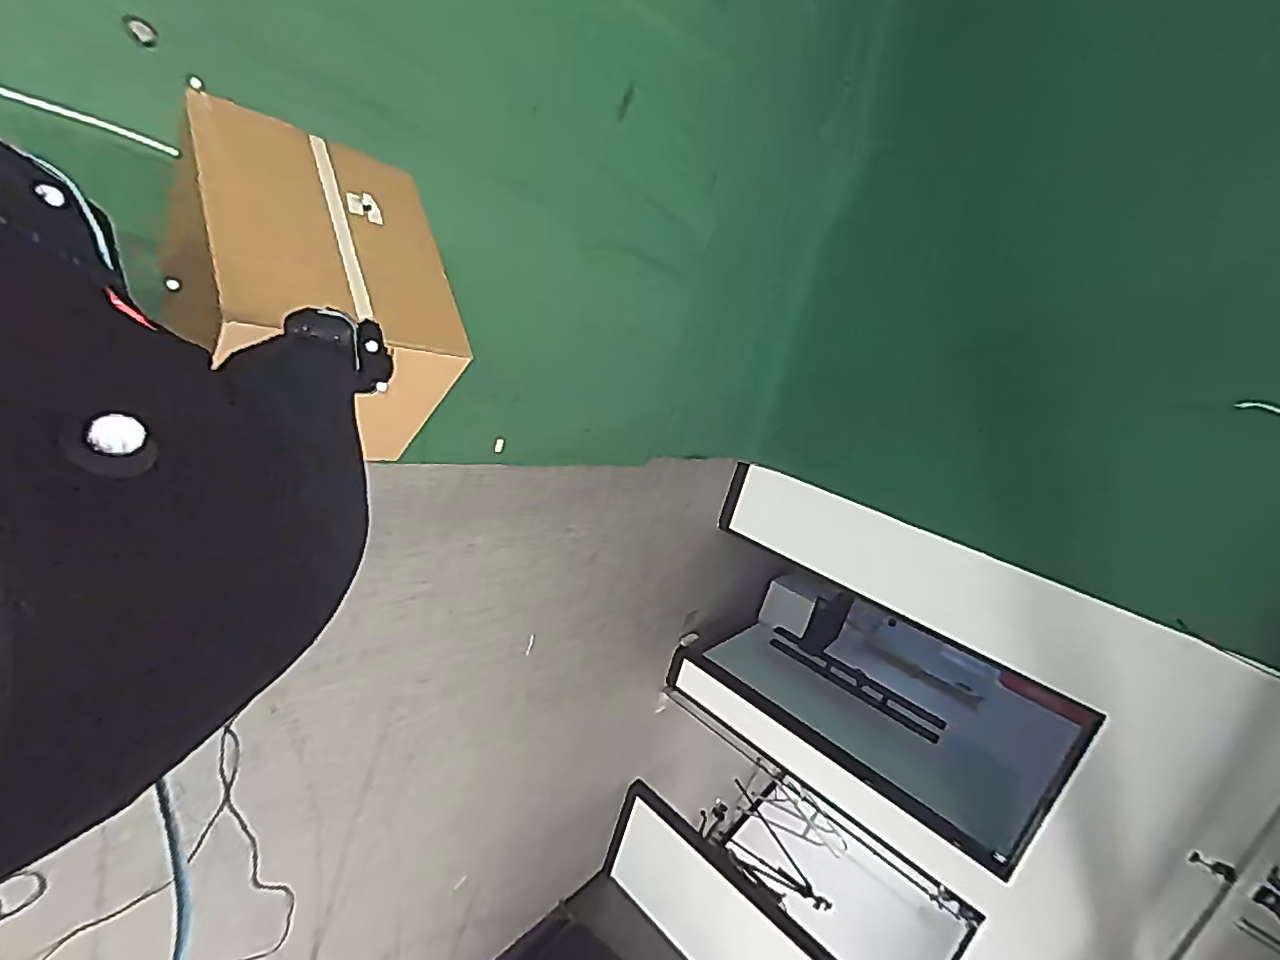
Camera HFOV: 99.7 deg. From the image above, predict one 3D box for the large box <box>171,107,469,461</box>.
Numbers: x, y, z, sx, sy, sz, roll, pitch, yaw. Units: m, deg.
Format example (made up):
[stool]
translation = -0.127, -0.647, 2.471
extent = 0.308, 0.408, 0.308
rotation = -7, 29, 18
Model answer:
[large box]
translation = -0.537, -0.279, 0.888
extent = 0.320, 0.408, 0.320
rotation = -2, 152, -48
